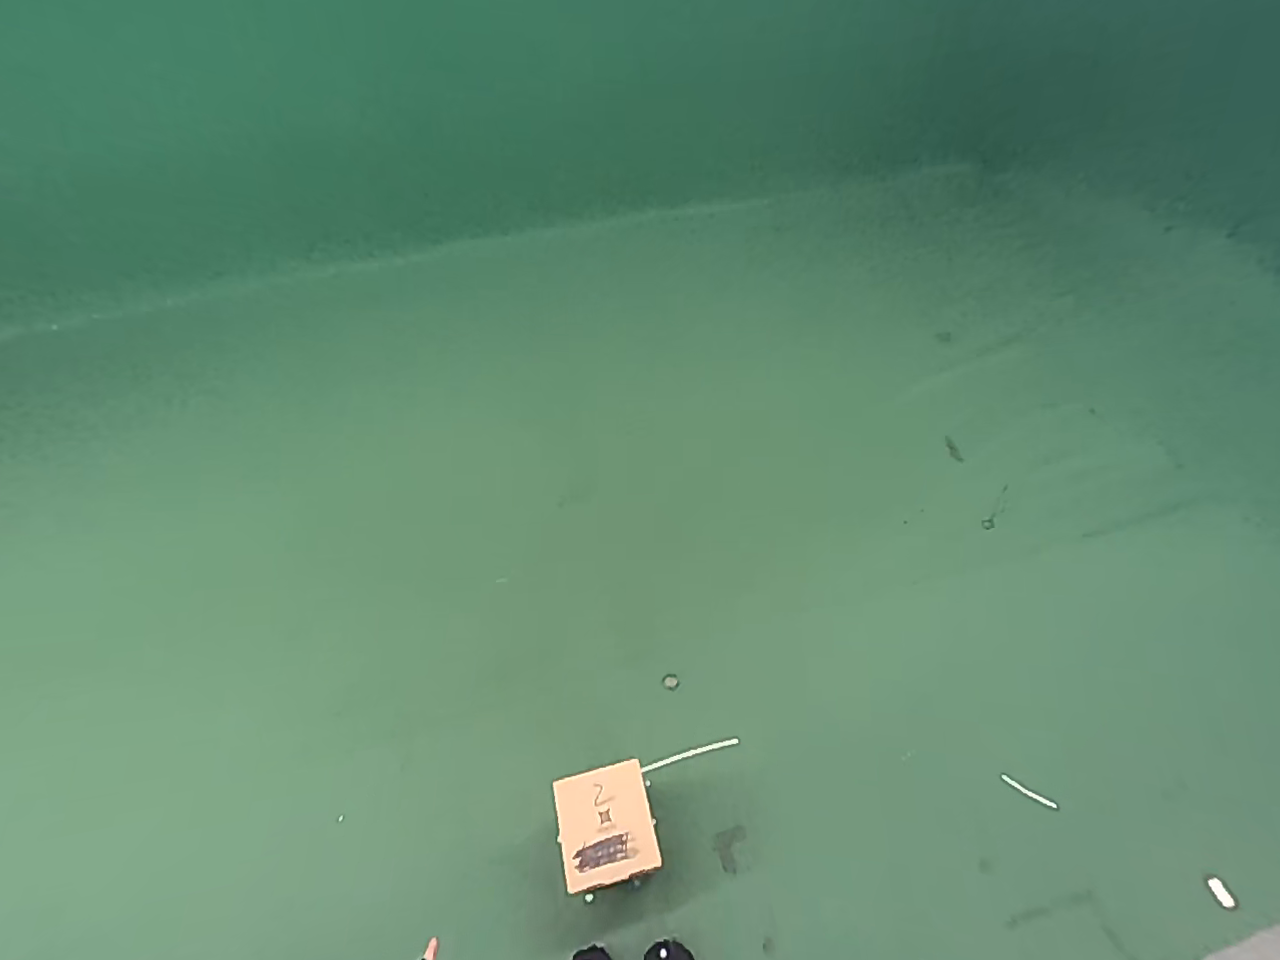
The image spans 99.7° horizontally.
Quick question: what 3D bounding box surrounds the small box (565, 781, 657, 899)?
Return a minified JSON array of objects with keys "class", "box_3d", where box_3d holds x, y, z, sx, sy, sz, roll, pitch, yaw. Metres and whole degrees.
[{"class":"small box","box_3d":[-0.059,0.769,1.158,0.168,0.176,0.179,-10,54,-6]}]
